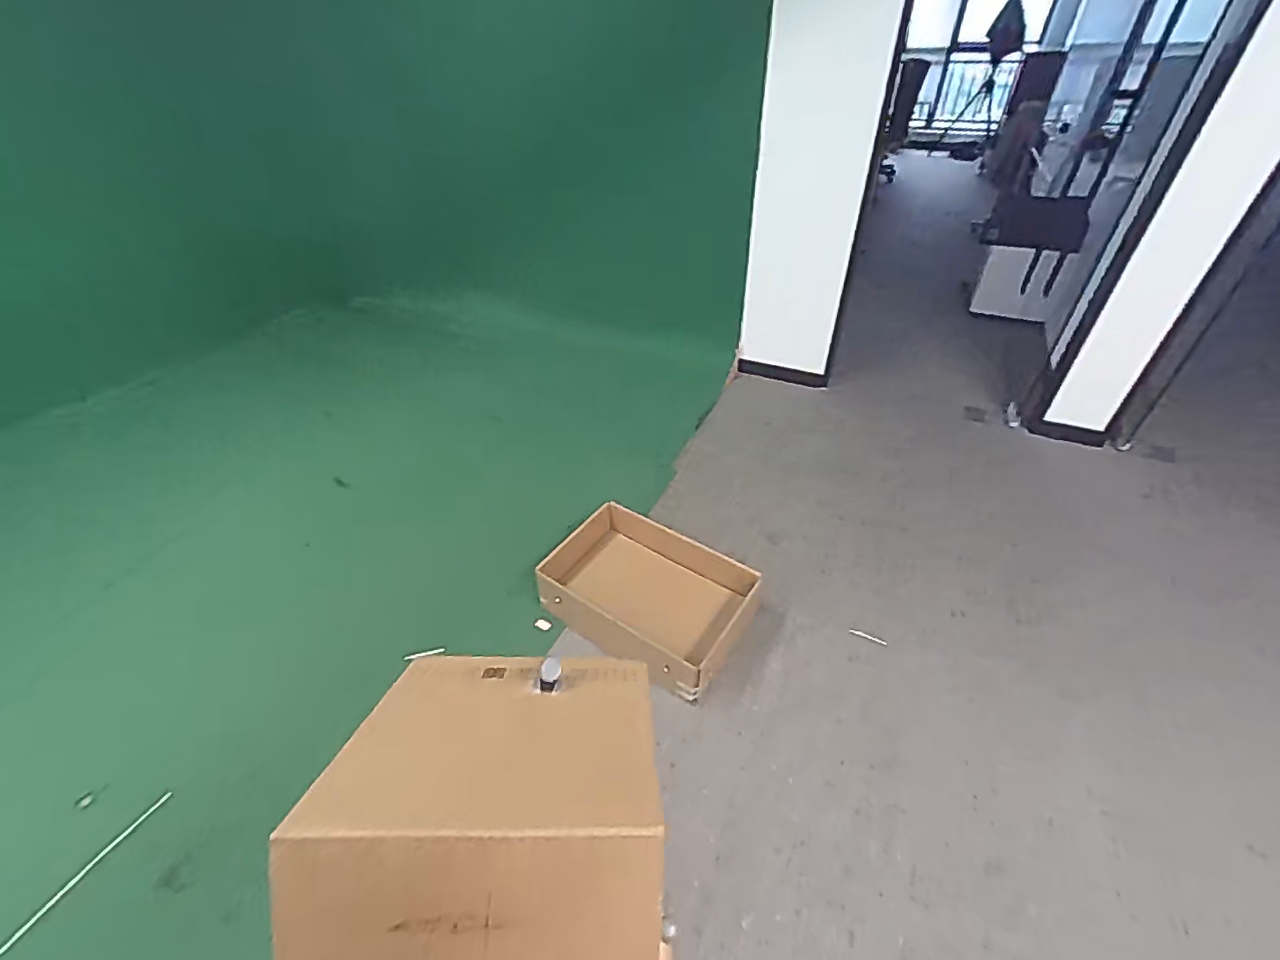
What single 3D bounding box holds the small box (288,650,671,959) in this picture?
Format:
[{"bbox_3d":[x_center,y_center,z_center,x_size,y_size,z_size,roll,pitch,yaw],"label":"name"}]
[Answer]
[{"bbox_3d":[-0.074,0.222,0.321,0.168,0.179,0.176,2,7,-3],"label":"small box"}]
